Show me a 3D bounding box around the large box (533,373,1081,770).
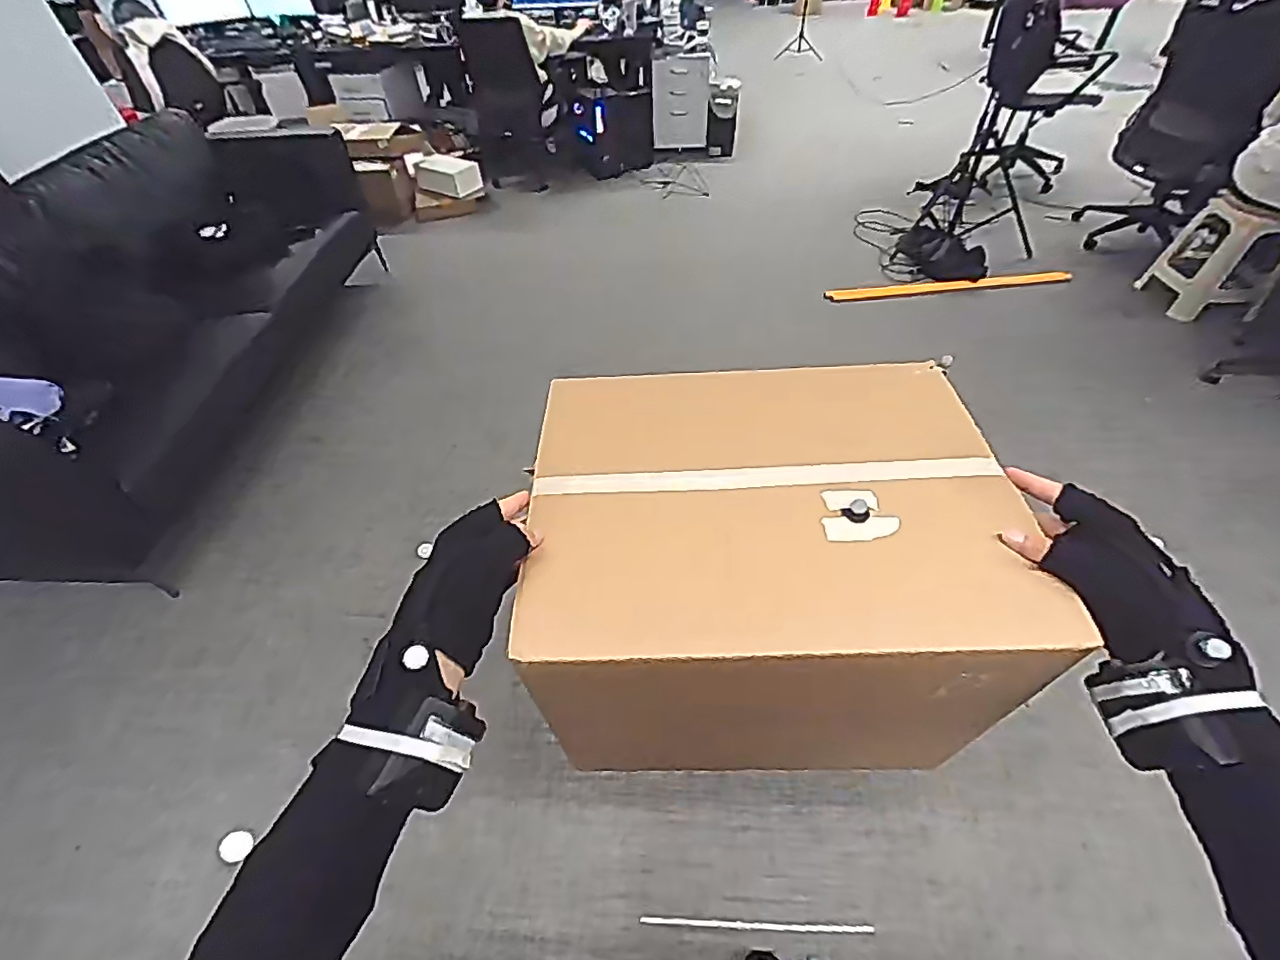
[{"bbox_3d":[0.120,0.106,0.595,0.408,0.320,0.320,-2,49,2],"label":"large box"}]
